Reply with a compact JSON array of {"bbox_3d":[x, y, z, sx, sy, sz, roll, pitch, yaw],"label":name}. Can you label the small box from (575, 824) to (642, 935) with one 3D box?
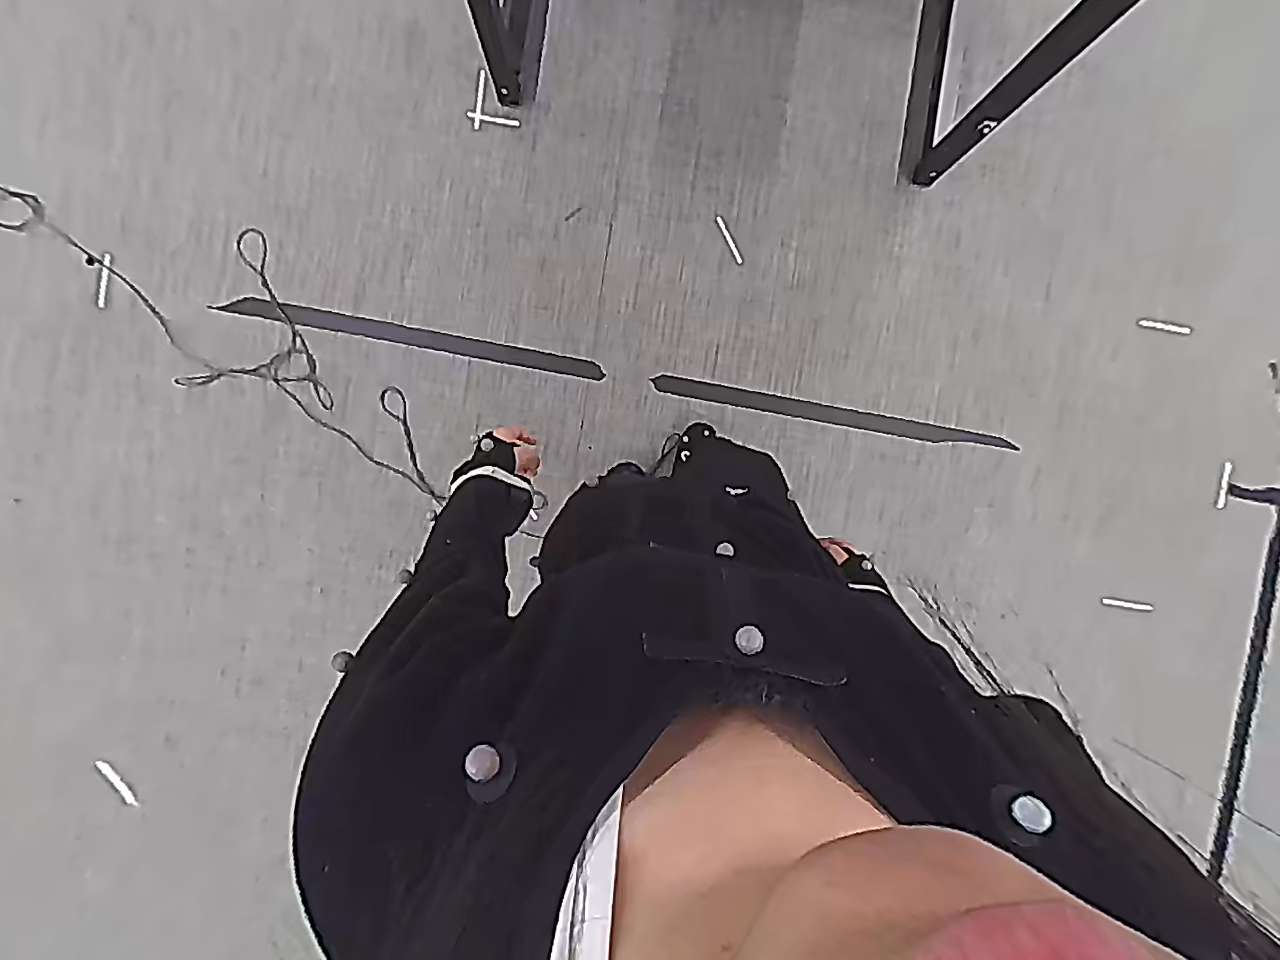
[{"bbox_3d":[-0.084,1.033,1.416,0.168,0.176,0.179,0,92,-4],"label":"small box"}]
